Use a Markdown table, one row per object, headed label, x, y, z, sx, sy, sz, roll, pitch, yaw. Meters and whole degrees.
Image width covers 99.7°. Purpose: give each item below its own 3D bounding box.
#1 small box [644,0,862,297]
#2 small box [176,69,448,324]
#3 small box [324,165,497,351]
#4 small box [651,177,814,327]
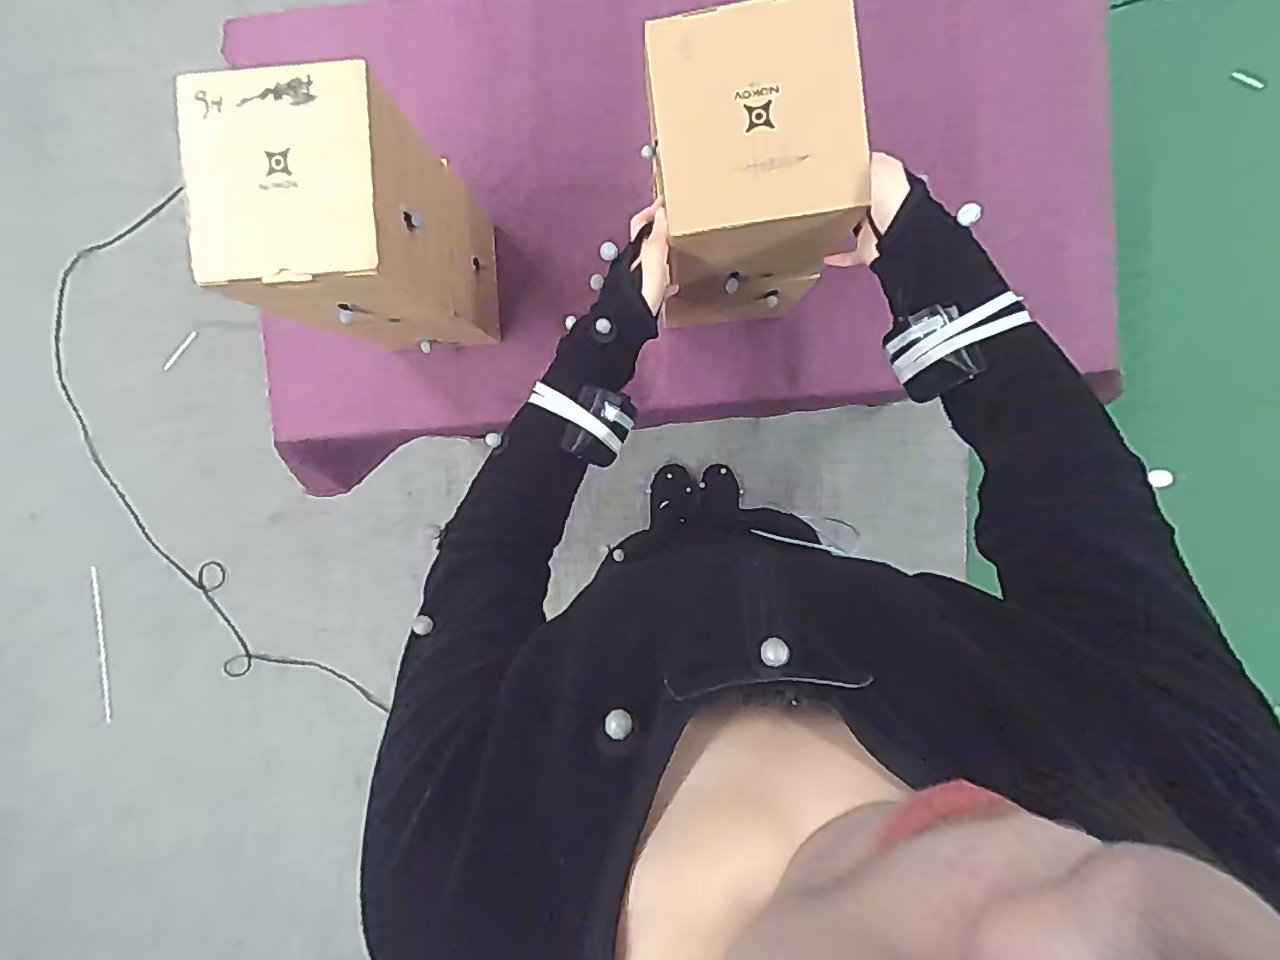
| label | x | y | z | sx | sy | sz | roll | pitch | yaw |
| --- | --- | --- | --- | --- | --- | --- | --- | --- | --- |
| small box | 0.095 | -0.296 | 0.518 | 0.168 | 0.176 | 0.179 | -6 | 92 | 4 |
| small box | -0.302 | -0.258 | 0.537 | 0.168 | 0.176 | 0.179 | -3 | 93 | 2 |
| small box | -0.293 | -0.273 | 0.700 | 0.168 | 0.176 | 0.179 | -3 | 93 | 2 |
| small box | 0.105 | -0.299 | 0.683 | 0.179 | 0.176 | 0.168 | -5 | 92 | 3 |
